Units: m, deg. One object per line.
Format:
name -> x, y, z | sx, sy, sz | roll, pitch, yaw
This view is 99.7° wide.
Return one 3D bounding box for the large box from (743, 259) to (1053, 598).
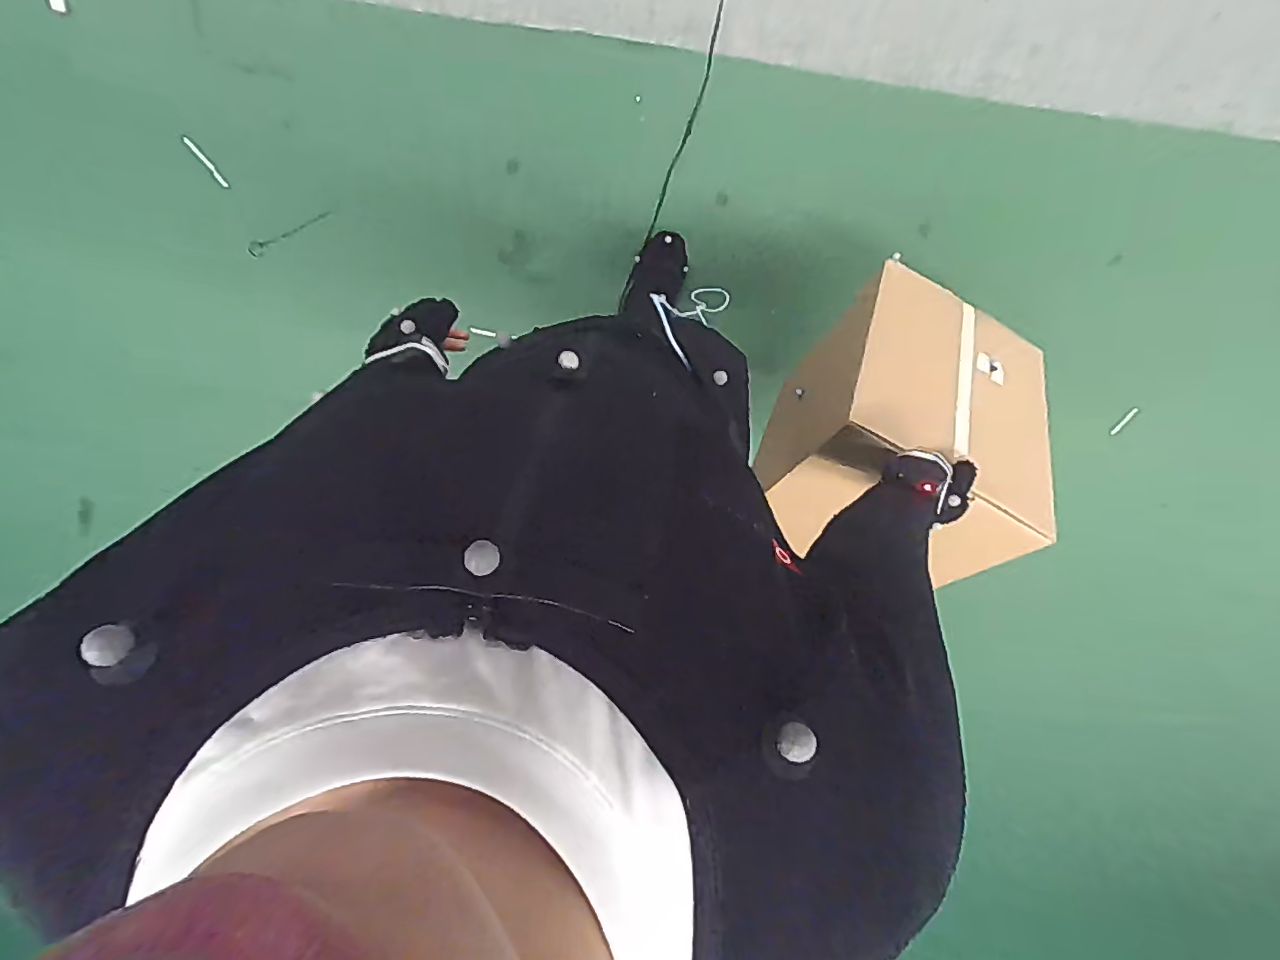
large box -> 0.416, -0.077, 0.912 | 0.320, 0.408, 0.320 | 30, 145, -5
